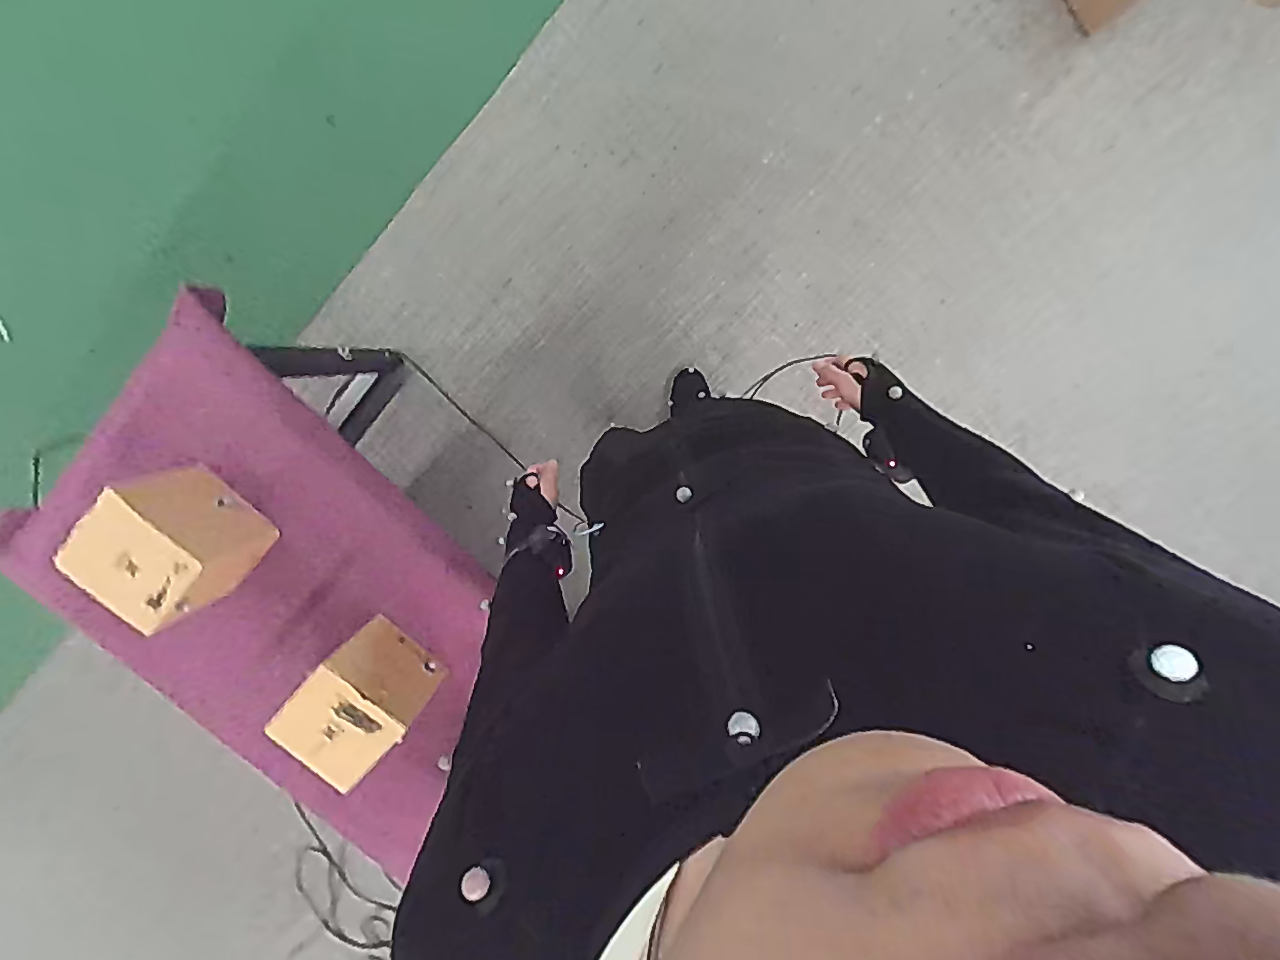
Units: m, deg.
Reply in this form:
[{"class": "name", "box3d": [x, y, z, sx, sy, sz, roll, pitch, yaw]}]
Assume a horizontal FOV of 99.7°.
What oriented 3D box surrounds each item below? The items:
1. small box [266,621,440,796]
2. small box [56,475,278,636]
[{"class": "small box", "box3d": [-0.469, 0.376, 0.920, 0.168, 0.176, 0.179, 42, 102, -6]}, {"class": "small box", "box3d": [-0.752, 0.109, 0.879, 0.179, 0.176, 0.168, 44, 102, -6]}]
